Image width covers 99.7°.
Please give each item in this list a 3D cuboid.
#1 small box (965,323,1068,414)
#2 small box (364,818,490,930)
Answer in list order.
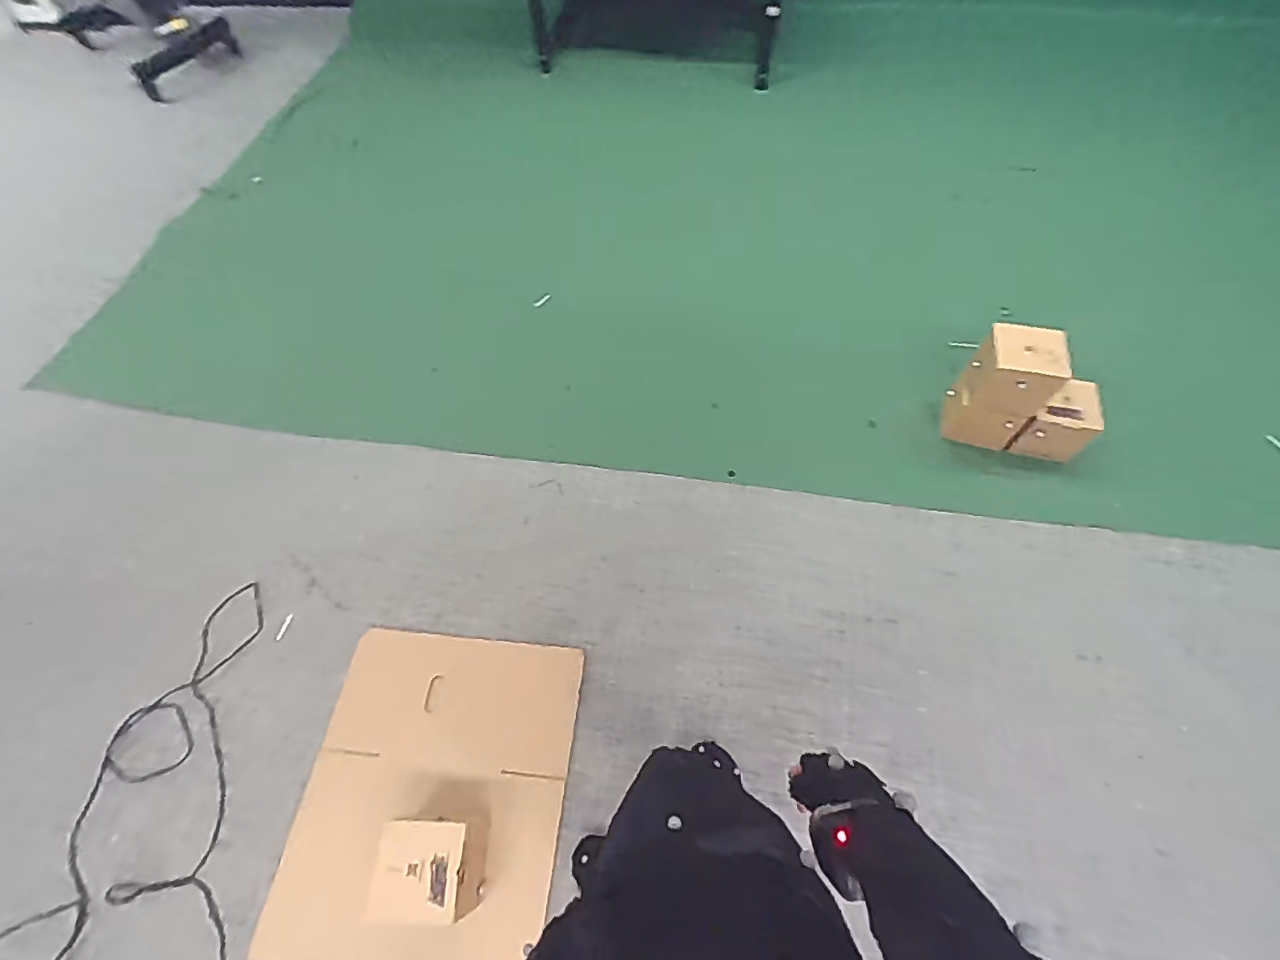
[{"bbox_3d":[1.013,-0.300,1.477,0.179,0.176,0.168,11,62,8],"label":"small box"},{"bbox_3d":[-0.424,0.799,1.113,0.179,0.176,0.168,0,61,3],"label":"small box"}]
